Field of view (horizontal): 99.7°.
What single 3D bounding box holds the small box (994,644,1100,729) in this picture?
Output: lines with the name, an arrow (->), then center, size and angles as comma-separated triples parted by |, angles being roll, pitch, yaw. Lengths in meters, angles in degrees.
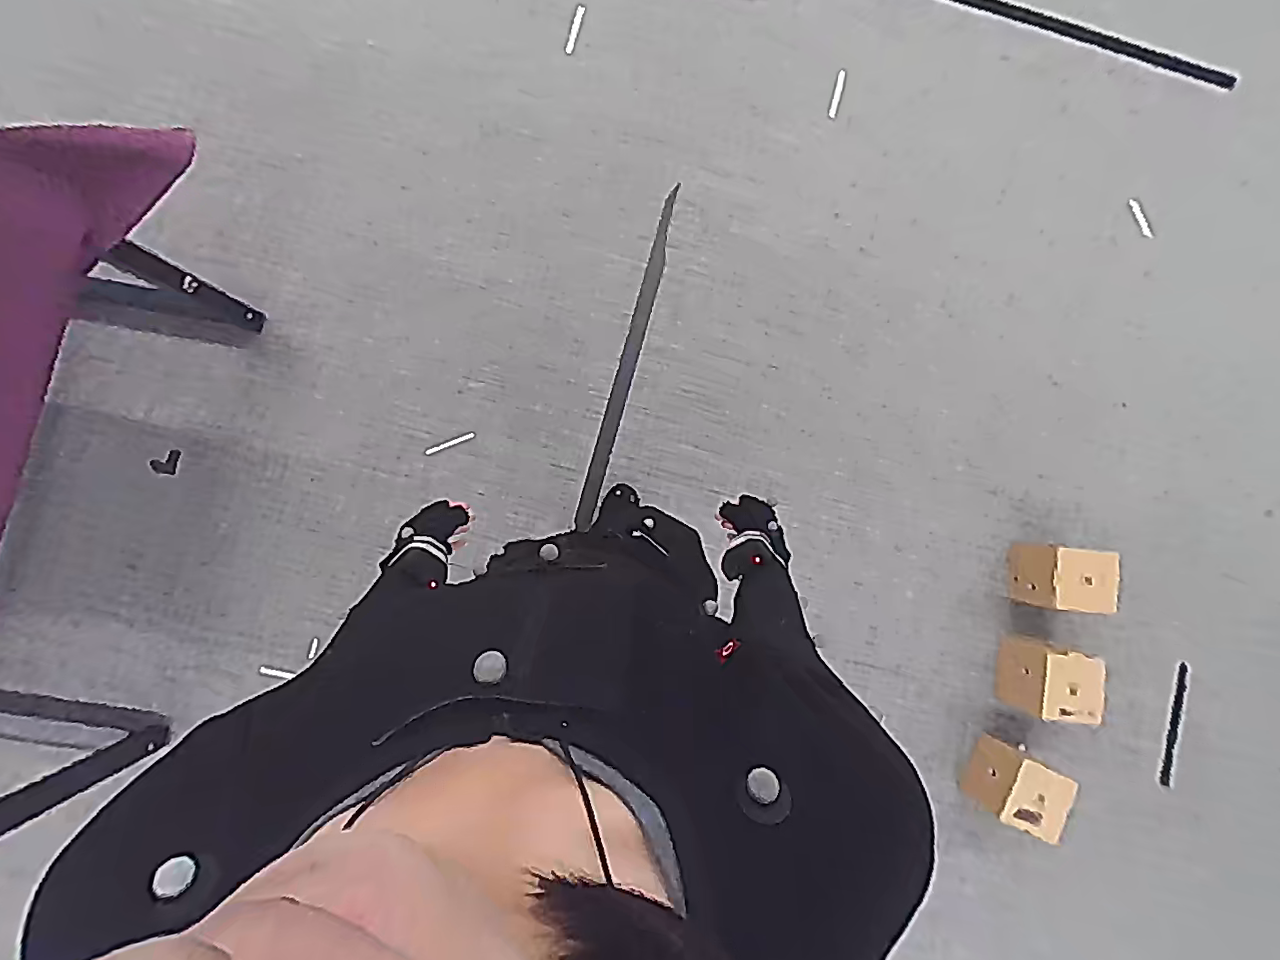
small box -> 1.116, 0.562, 1.494 | 0.168, 0.176, 0.179 | 7, 85, -3

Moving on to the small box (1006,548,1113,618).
small box -> 1.166, 0.283, 1.515 | 0.179, 0.176, 0.168 | 5, 87, -4

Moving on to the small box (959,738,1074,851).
small box -> 1.011, 0.846, 1.470 | 0.168, 0.176, 0.179 | 26, 85, -2
